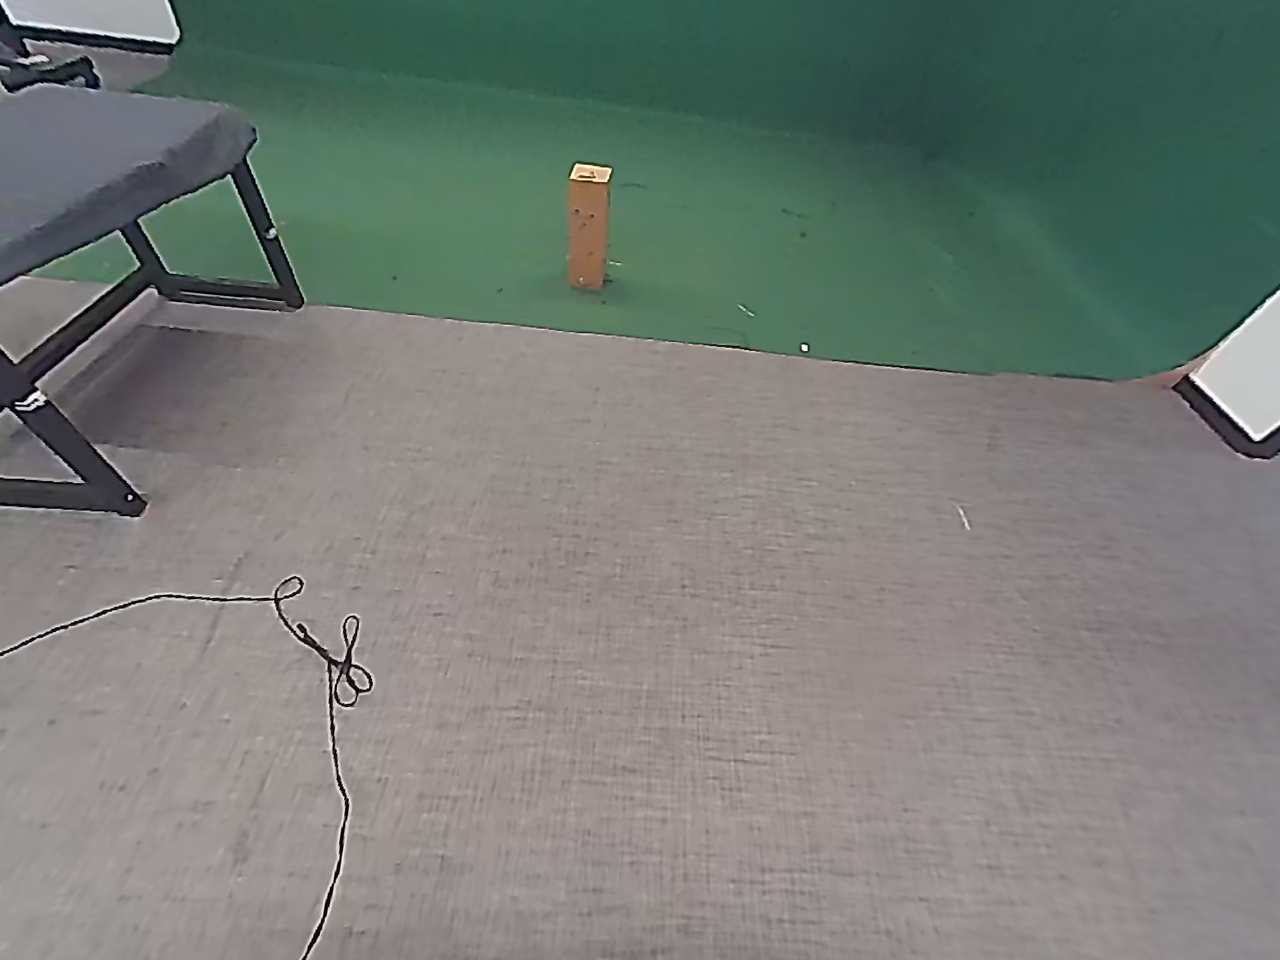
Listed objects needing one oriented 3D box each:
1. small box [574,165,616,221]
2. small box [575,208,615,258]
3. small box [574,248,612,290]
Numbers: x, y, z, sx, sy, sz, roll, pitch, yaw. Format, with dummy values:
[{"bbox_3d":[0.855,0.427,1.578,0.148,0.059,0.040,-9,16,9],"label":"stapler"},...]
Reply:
[{"bbox_3d":[-0.201,-1.288,2.429,0.168,0.176,0.179,7,48,-1],"label":"small box"},{"bbox_3d":[-0.213,-1.176,2.549,0.168,0.176,0.179,7,48,-1],"label":"small box"},{"bbox_3d":[-0.232,-1.067,2.669,0.168,0.176,0.179,6,50,-1],"label":"small box"}]
